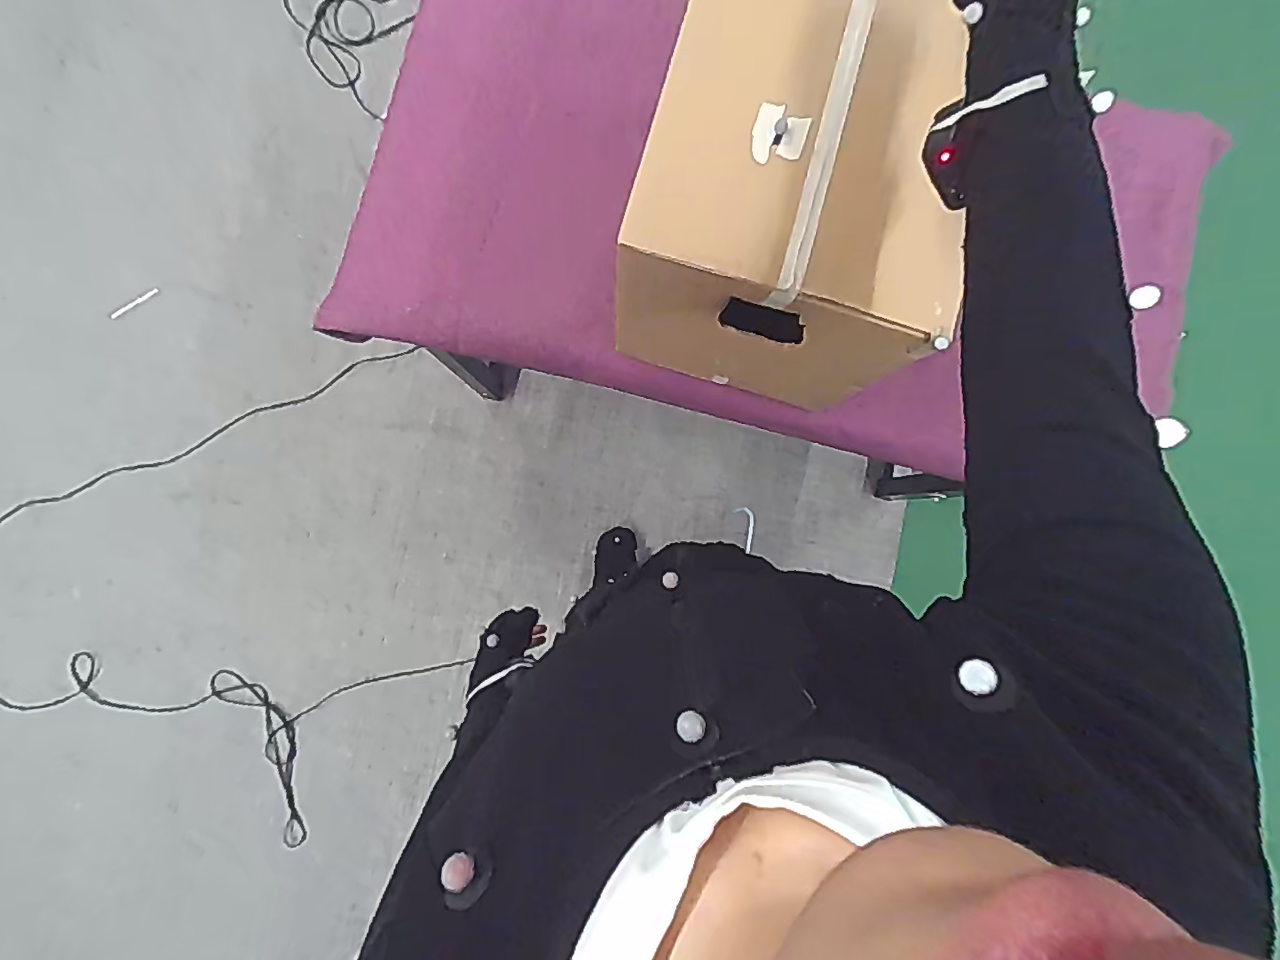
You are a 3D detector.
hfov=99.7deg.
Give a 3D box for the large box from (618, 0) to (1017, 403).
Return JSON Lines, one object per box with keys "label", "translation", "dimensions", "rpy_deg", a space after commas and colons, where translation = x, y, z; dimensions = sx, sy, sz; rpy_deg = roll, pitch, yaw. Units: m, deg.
{"label": "large box", "translation": [0.172, -0.351, 0.660], "dimensions": [0.320, 0.320, 0.408], "rpy_deg": [16, 86, -1]}
